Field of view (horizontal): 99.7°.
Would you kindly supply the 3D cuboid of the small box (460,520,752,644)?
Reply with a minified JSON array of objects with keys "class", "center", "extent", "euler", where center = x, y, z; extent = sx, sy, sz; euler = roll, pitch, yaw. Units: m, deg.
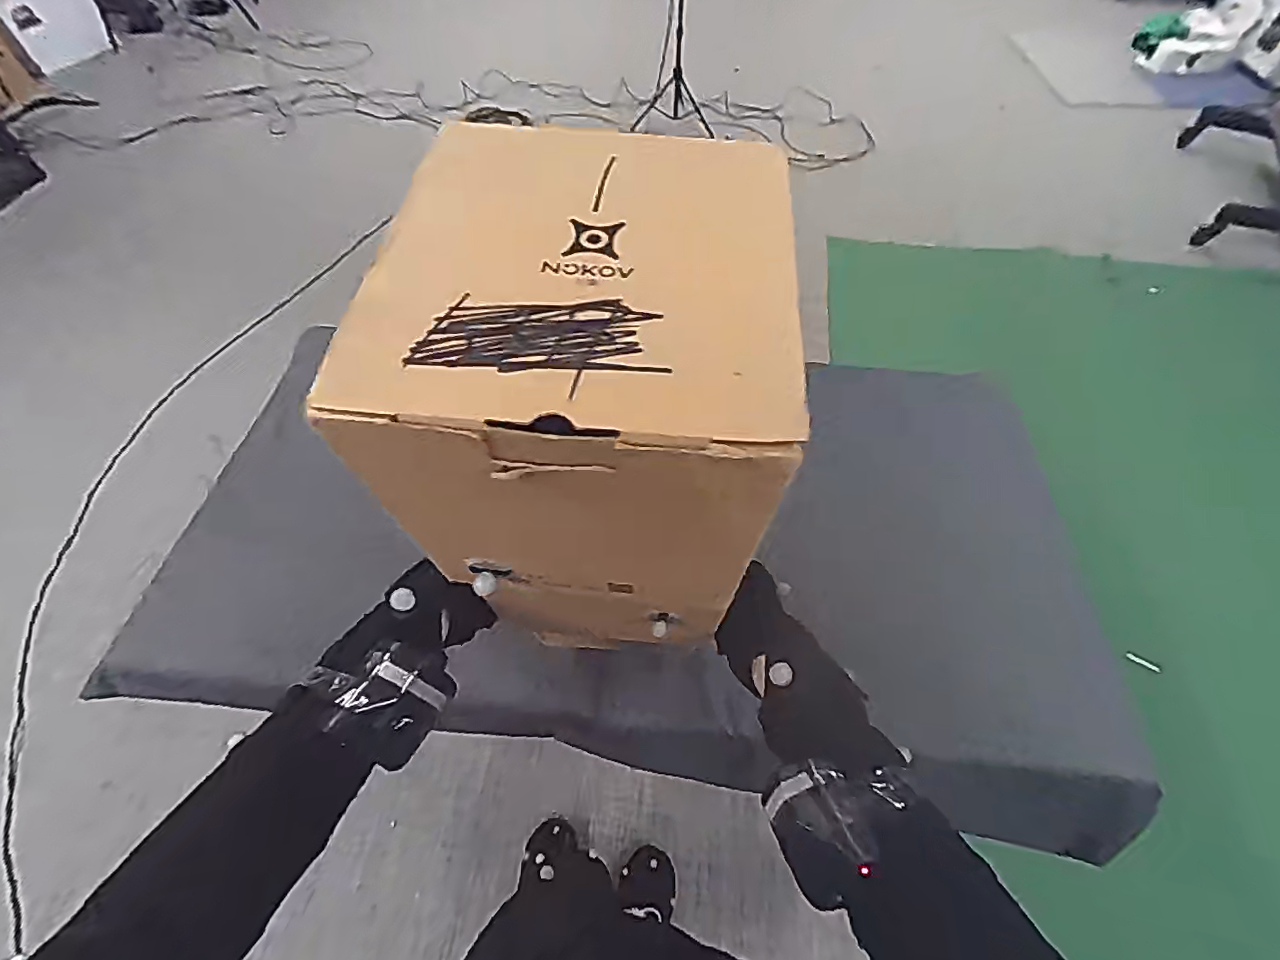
[{"class":"small box","center":[-0.020,0.027,0.427],"extent":[0.179,0.176,0.168],"euler":[1,61,0]}]

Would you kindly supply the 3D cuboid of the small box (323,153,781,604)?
[{"class":"small box","center":[-0.024,-0.043,0.296],"extent":[0.168,0.176,0.179],"euler":[5,59,2]}]
